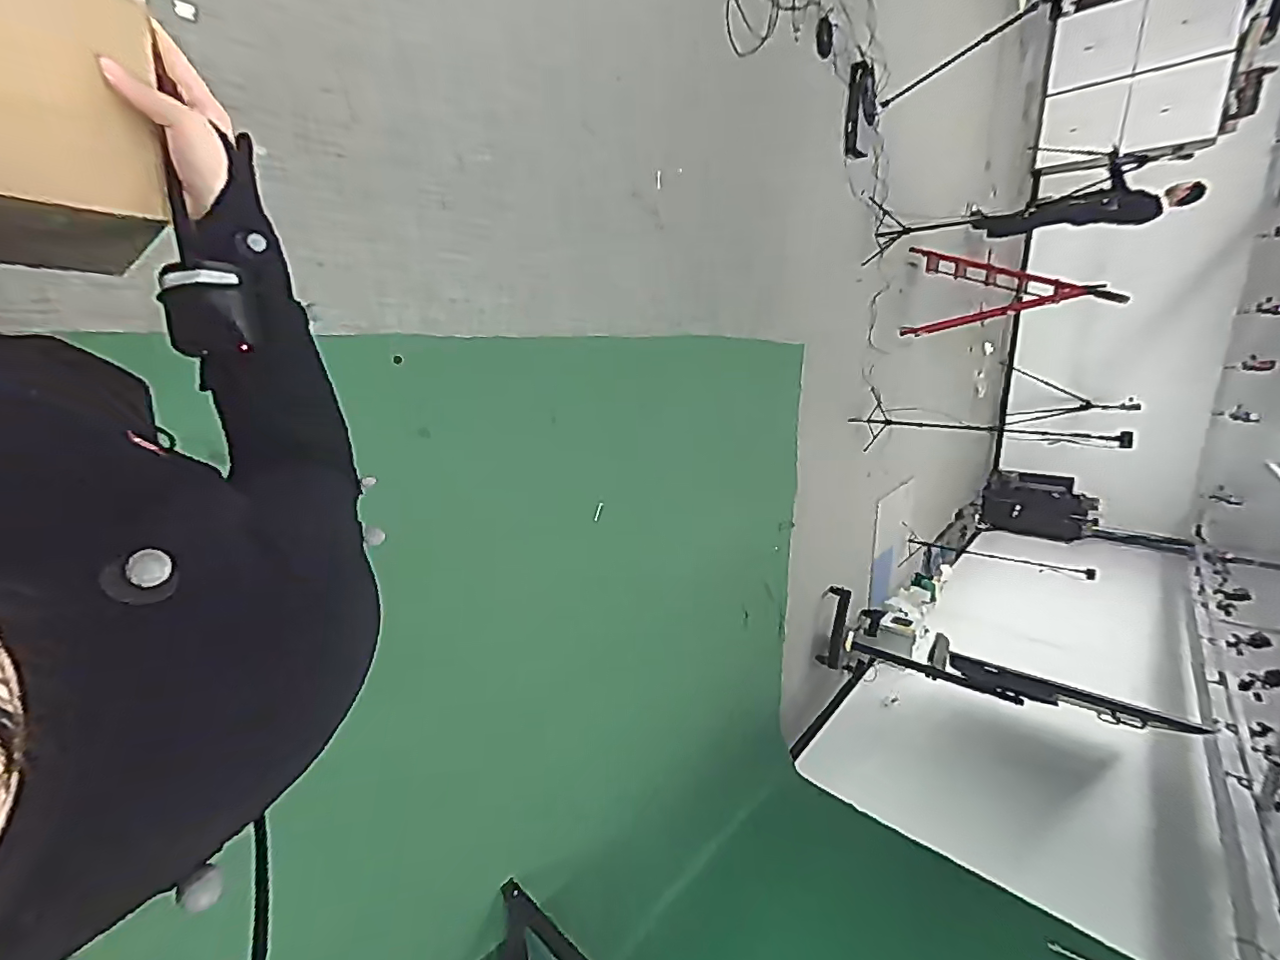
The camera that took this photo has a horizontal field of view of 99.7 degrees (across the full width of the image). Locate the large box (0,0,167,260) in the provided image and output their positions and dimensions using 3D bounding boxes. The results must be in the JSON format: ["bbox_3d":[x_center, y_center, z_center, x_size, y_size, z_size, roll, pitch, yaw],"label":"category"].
[{"bbox_3d":[-0.608,-0.346,0.334,0.408,0.320,0.320,-13,107,-49],"label":"large box"}]
